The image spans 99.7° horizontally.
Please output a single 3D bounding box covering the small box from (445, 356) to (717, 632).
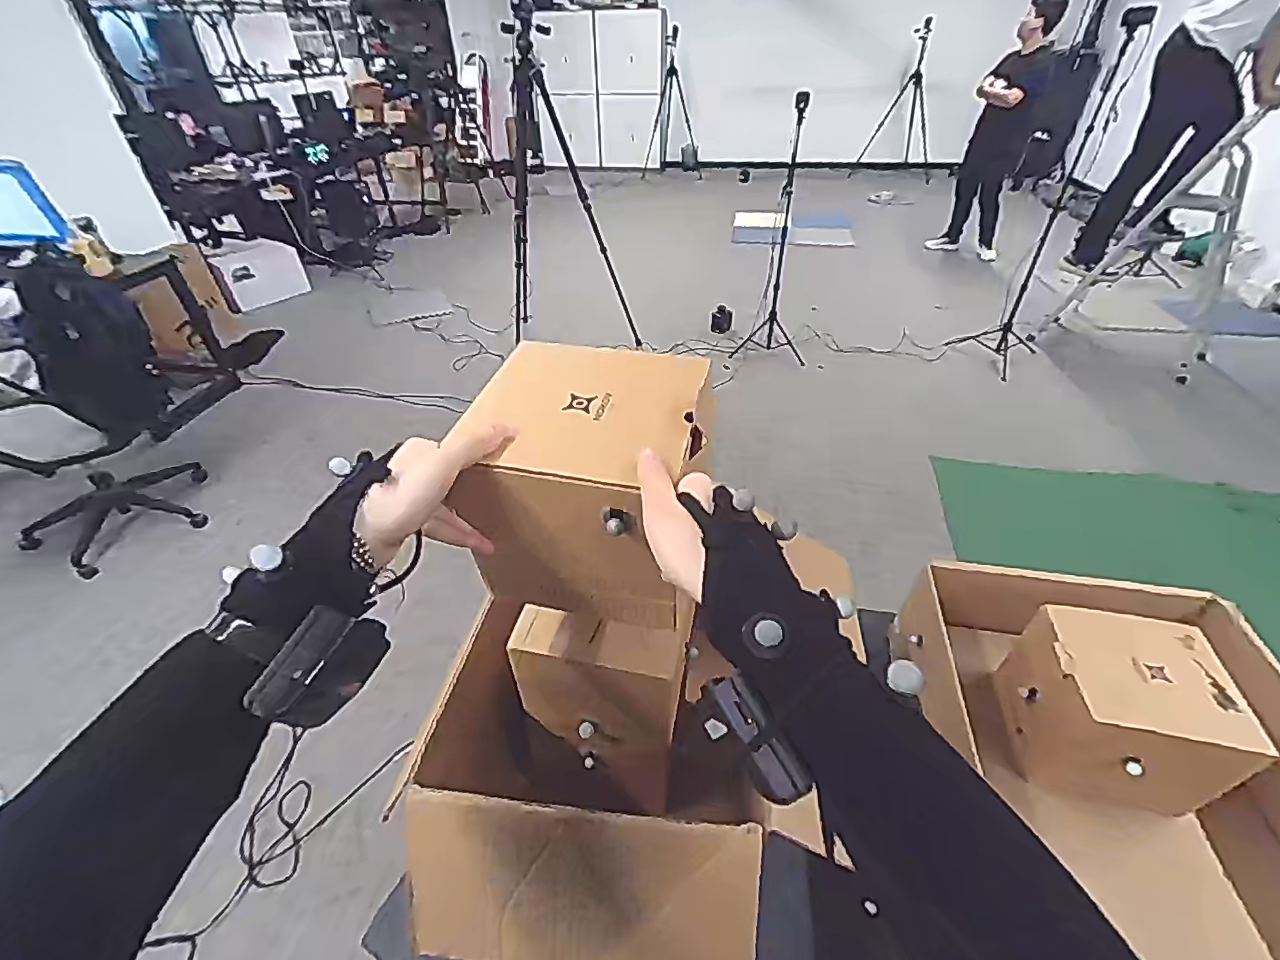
[{"bbox_3d":[-0.035,0.012,0.477,0.179,0.176,0.168,9,44,11],"label":"small box"}]

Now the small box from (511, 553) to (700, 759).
[{"bbox_3d":[-0.030,0.186,0.626,0.168,0.176,0.179,8,42,11],"label":"small box"}]
